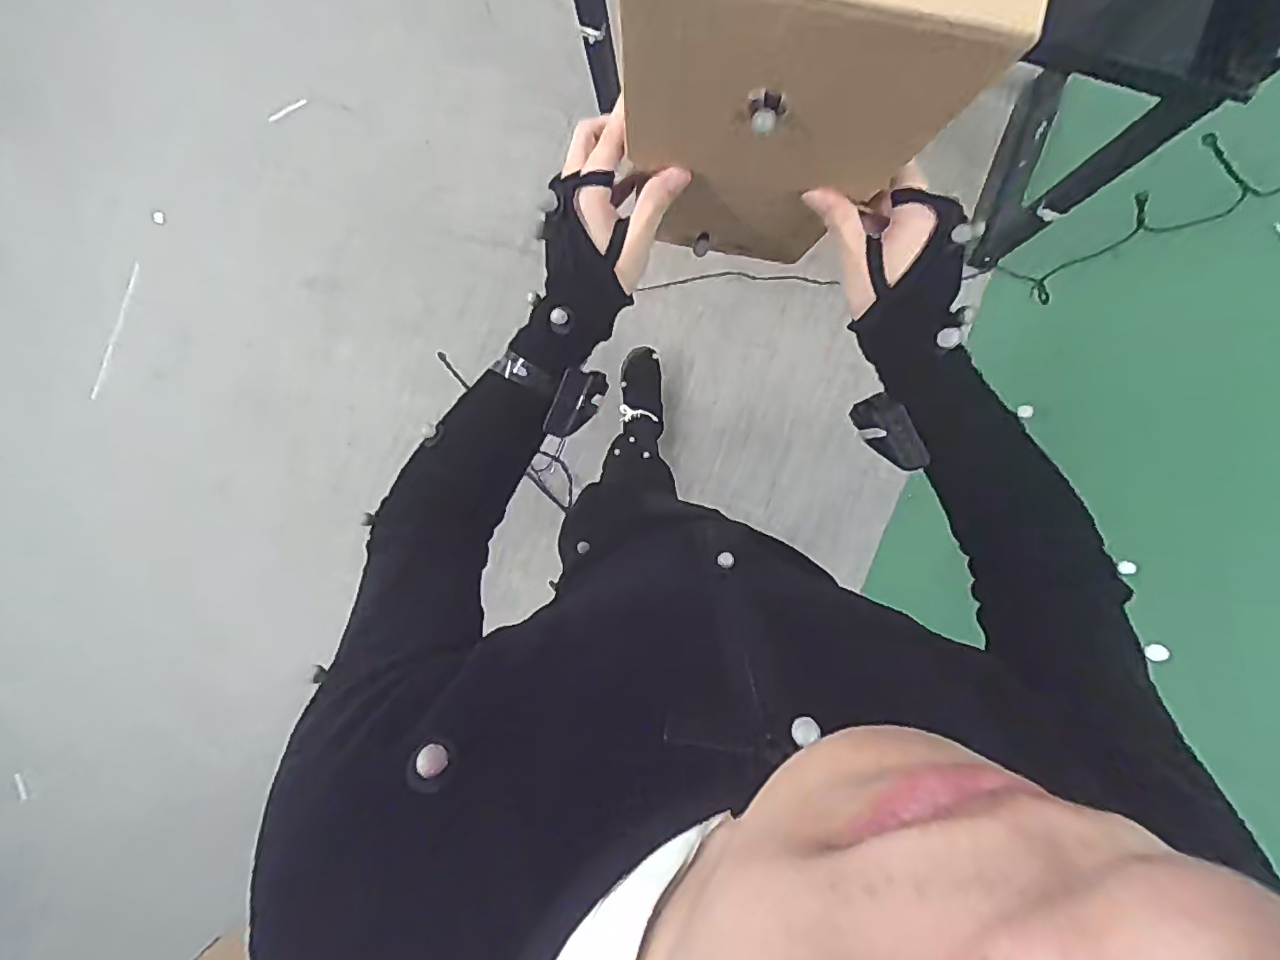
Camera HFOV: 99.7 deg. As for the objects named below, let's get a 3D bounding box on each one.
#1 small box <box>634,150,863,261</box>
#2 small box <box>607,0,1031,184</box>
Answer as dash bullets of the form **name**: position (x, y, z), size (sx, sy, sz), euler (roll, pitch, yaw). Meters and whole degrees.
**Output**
- **small box**: position (0.087, -0.307, 0.449), size (0.168, 0.176, 0.179), euler (9, 96, -1)
- **small box**: position (0.084, -0.284, 0.286), size (0.179, 0.176, 0.168), euler (10, 96, 0)
